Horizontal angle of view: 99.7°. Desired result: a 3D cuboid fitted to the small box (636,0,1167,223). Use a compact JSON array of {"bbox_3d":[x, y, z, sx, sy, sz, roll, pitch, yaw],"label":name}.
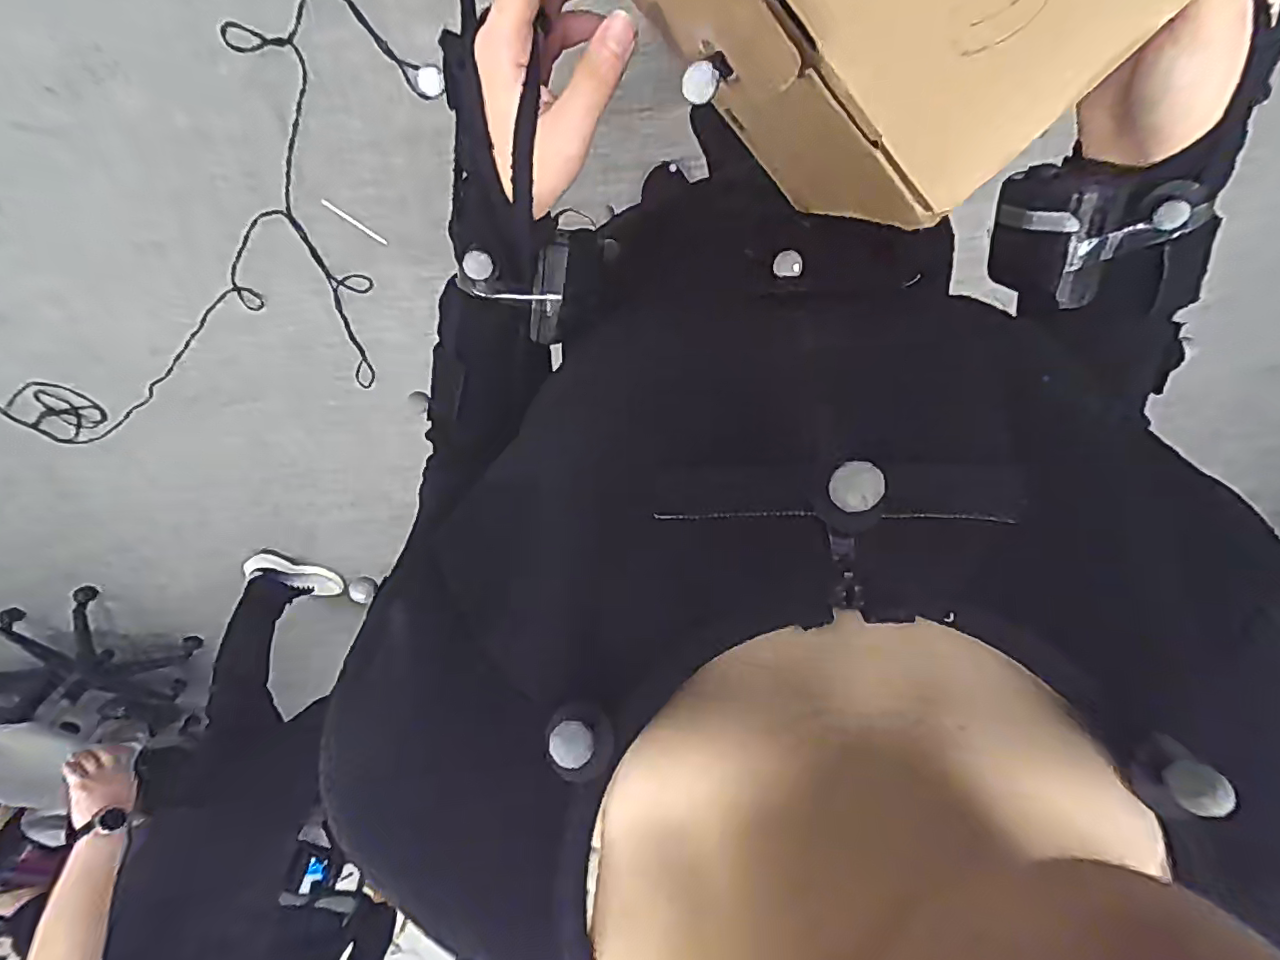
[{"bbox_3d":[0.093,-0.223,0.193,0.168,0.176,0.179,41,112,-18],"label":"small box"}]
